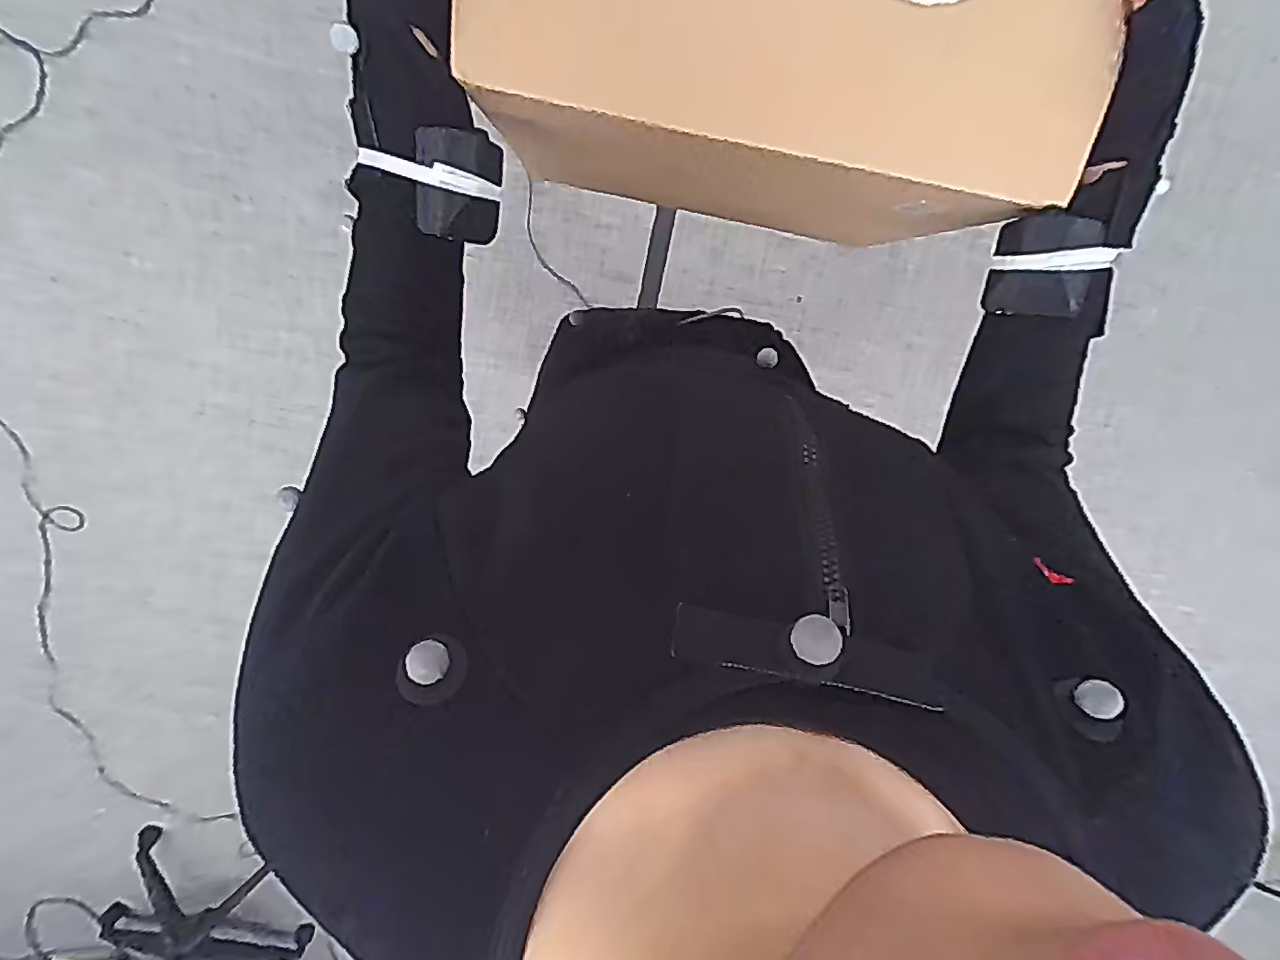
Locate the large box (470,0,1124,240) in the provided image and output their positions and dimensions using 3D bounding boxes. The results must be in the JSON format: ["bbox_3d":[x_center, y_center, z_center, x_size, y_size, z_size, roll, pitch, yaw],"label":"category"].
[{"bbox_3d":[0.104,-0.410,0.447,0.408,0.320,0.320,9,110,-6],"label":"large box"}]
